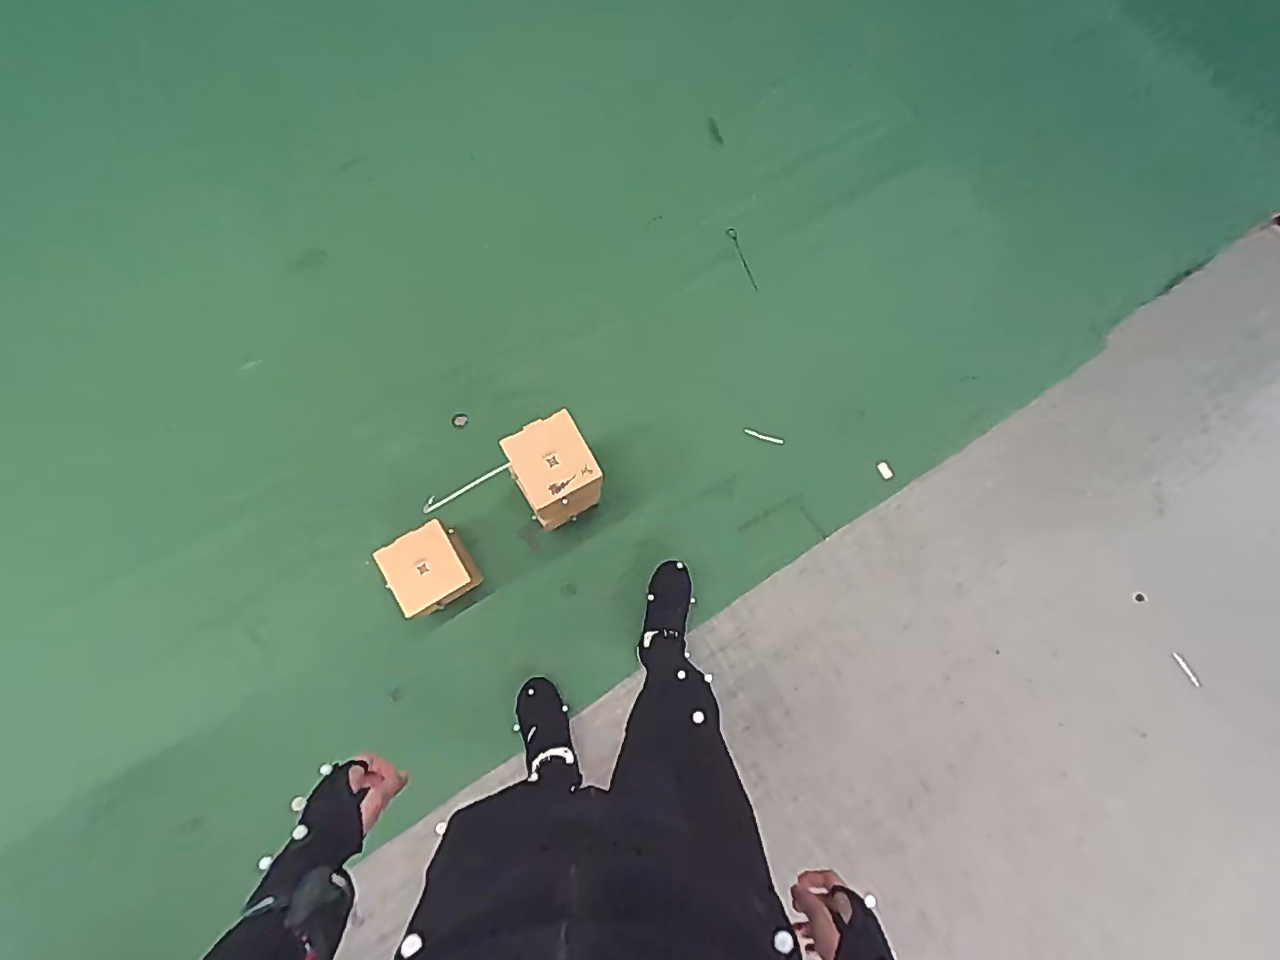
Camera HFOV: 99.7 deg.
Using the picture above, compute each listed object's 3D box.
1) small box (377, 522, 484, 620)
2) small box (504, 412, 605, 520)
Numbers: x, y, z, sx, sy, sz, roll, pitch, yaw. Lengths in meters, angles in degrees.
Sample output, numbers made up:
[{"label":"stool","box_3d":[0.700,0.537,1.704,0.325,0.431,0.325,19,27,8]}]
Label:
[{"label":"small box","box_3d":[-0.507,0.225,1.336,0.168,0.176,0.179,-31,82,-10]},{"label":"small box","box_3d":[-0.194,-0.025,1.247,0.168,0.176,0.179,-28,82,-10]}]
